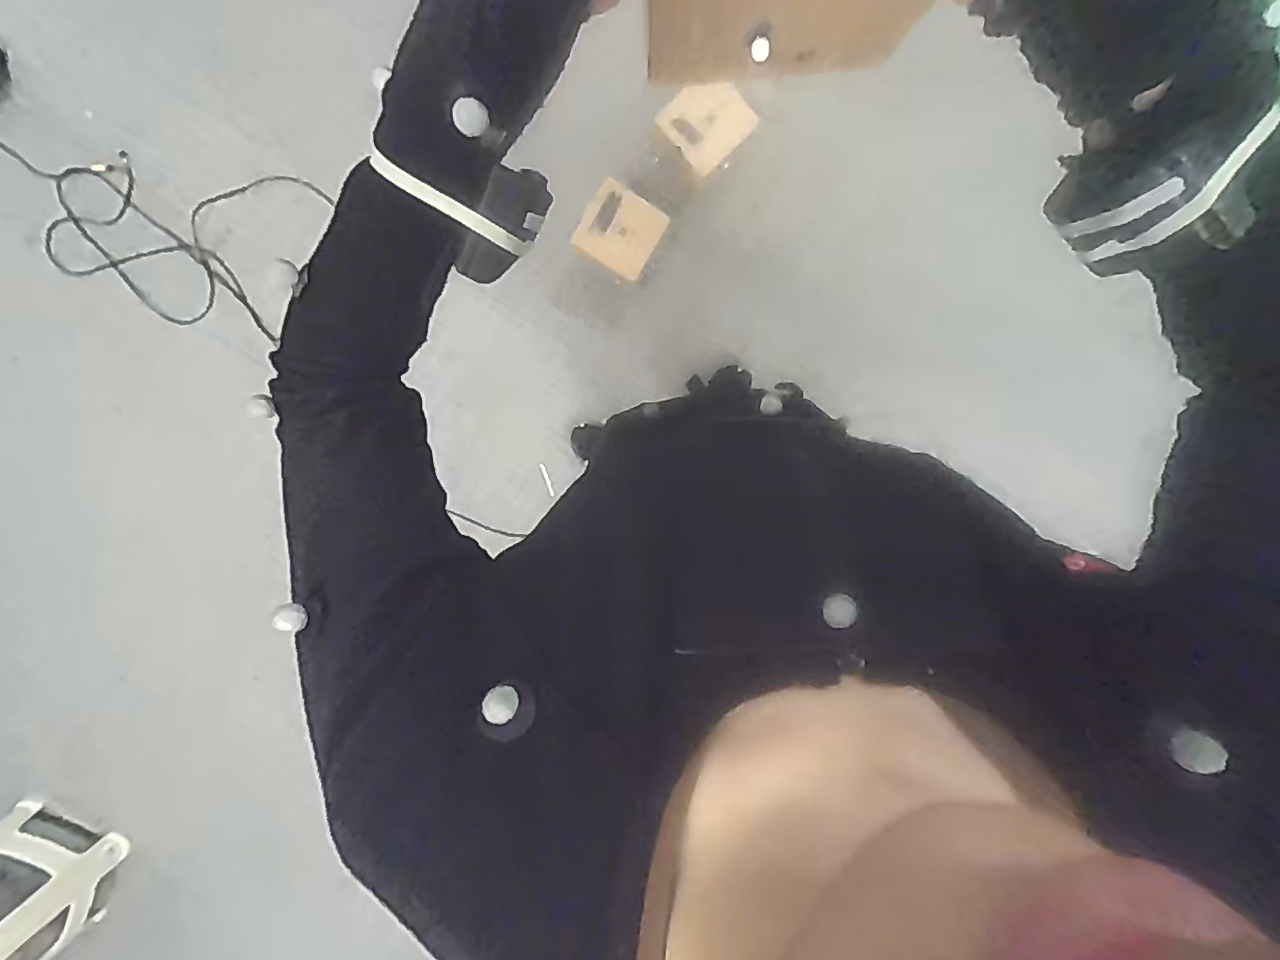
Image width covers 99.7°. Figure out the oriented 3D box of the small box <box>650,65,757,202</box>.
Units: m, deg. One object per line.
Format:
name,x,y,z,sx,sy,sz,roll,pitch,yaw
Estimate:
small box,0.140,-0.790,1.259,0.179,0.176,0.168,-42,98,5
